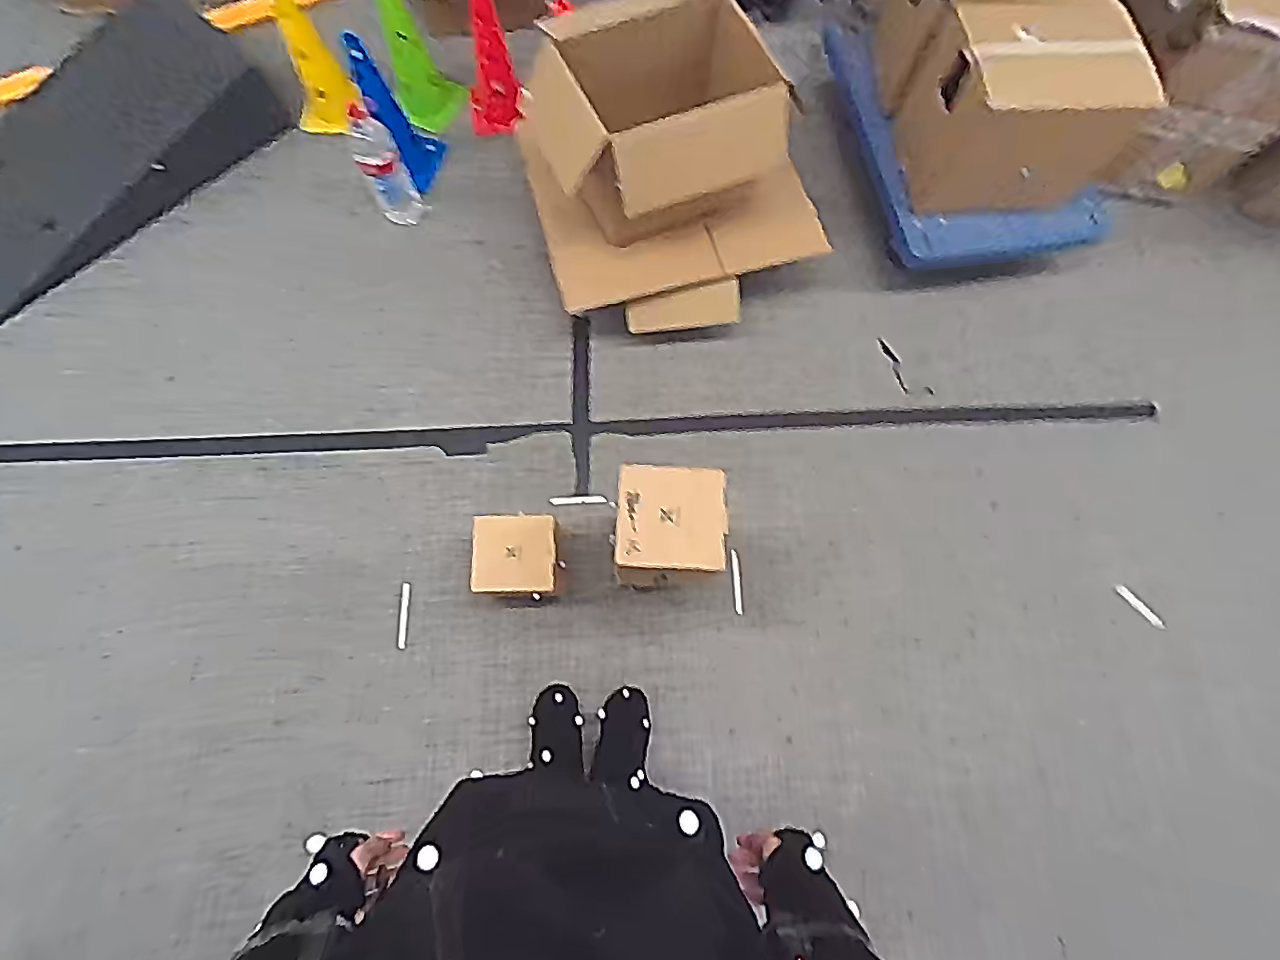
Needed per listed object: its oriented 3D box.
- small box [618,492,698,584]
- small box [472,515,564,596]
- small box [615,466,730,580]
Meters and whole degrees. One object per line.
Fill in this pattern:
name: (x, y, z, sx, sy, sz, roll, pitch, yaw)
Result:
small box: (0.043, 0.122, 1.101, 0.179, 0.176, 0.168, 1, 75, -3)
small box: (-0.273, 0.177, 1.243, 0.179, 0.176, 0.168, -1, 74, -3)
small box: (0.051, 0.082, 0.942, 0.179, 0.176, 0.168, 4, 75, -3)
